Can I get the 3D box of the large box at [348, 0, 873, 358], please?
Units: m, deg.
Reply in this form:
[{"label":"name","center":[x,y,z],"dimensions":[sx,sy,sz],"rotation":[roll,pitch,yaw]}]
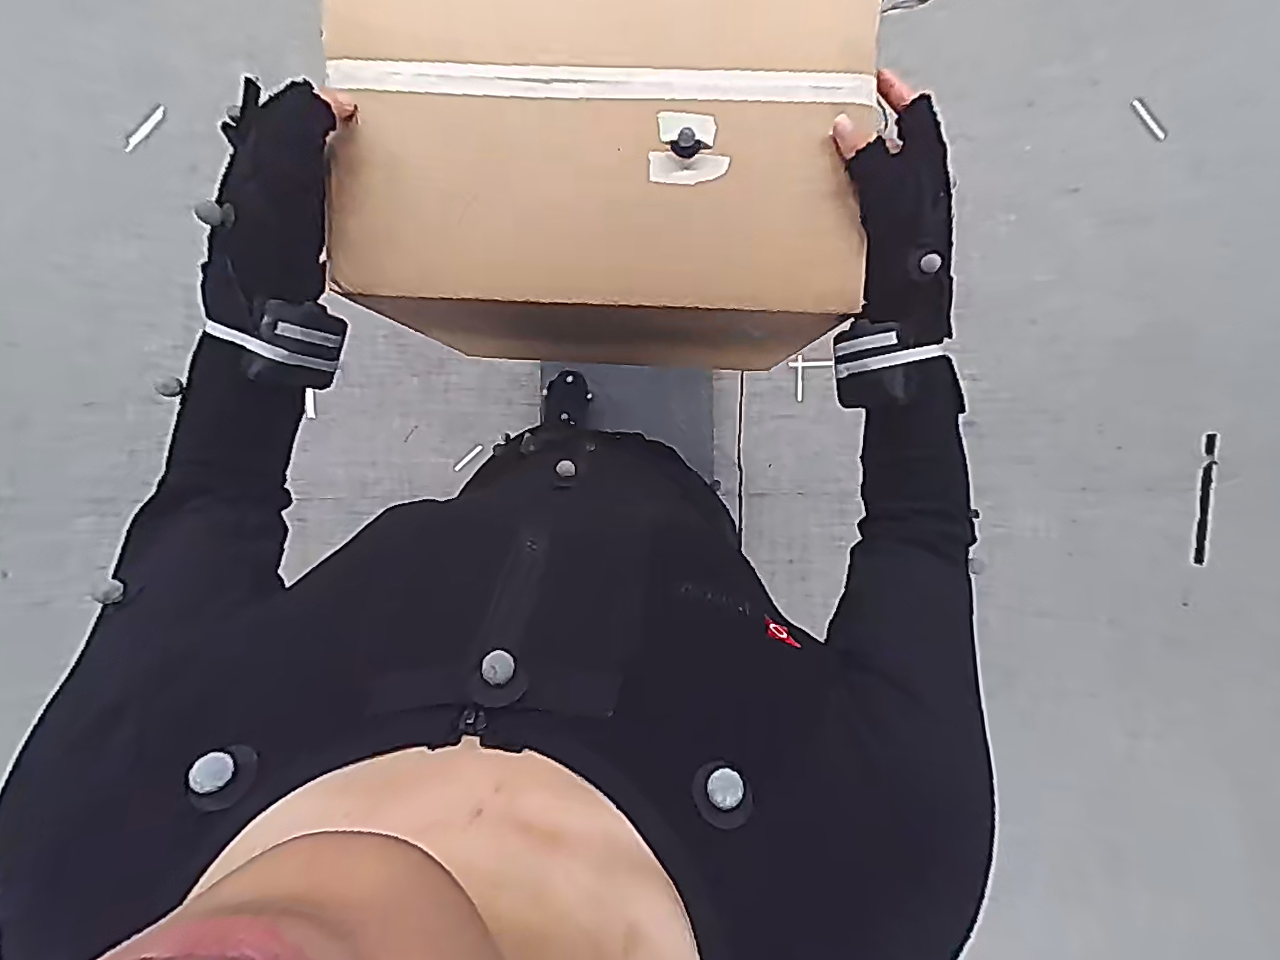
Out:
[{"label":"large box","center":[-0.025,-0.310,0.562],"dimensions":[0.408,0.320,0.320],"rotation":[2,94,0]}]
